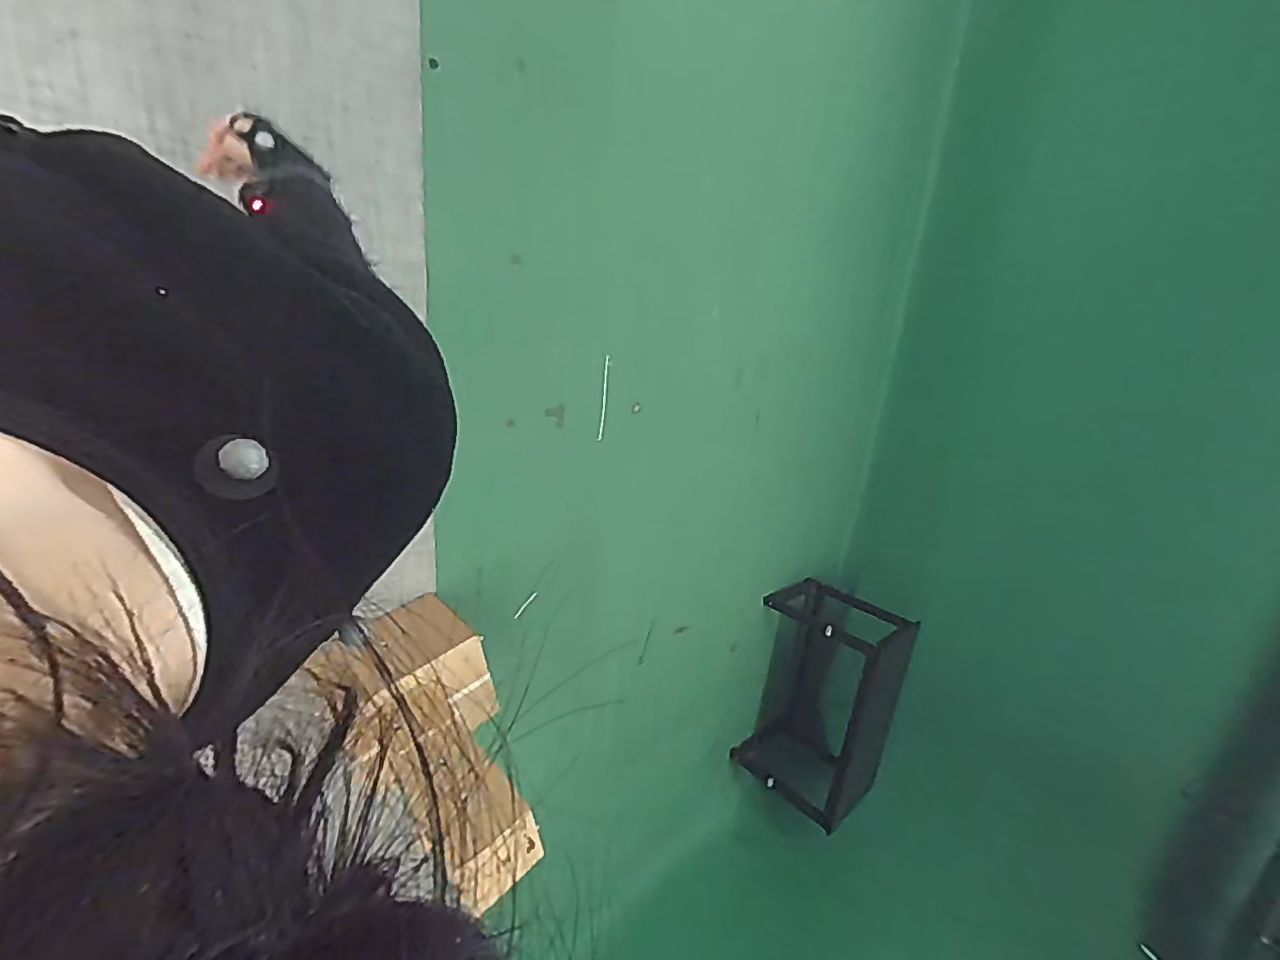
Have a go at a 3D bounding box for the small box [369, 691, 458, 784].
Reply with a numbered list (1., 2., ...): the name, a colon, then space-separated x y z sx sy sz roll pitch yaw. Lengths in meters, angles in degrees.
1. small box: -0.559 0.668 1.369 0.168 0.176 0.179 -26 123 -36

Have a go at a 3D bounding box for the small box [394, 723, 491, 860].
1. small box: -0.449 0.715 1.258 0.179 0.176 0.168 -28 123 -36

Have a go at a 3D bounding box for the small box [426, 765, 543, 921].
1. small box: -0.334 0.760 1.150 0.179 0.176 0.168 -26 123 -35

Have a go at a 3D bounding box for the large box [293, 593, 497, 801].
1. large box: -0.696 0.598 1.565 0.408 0.320 0.320 -28 125 -37
